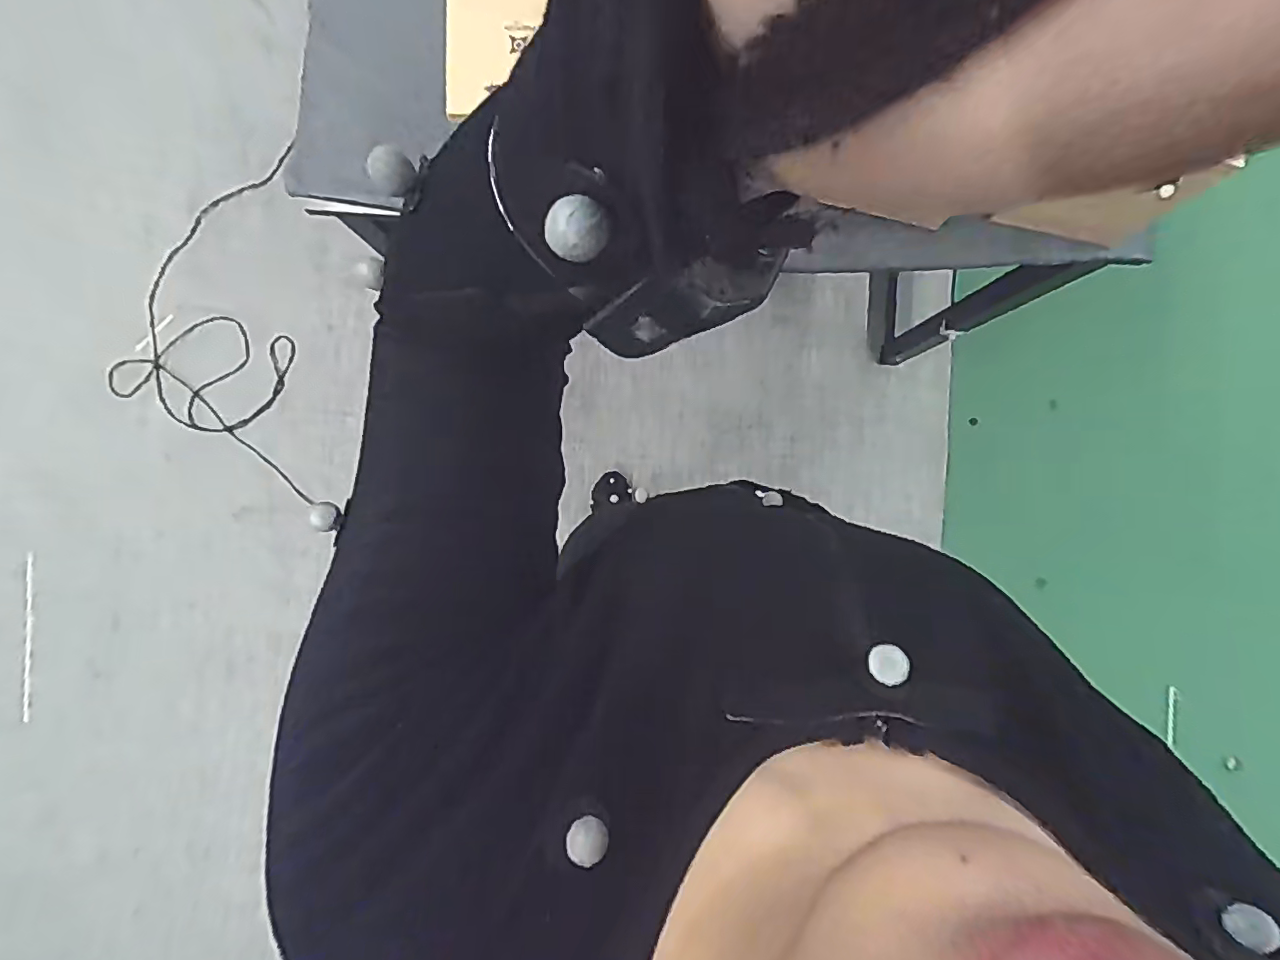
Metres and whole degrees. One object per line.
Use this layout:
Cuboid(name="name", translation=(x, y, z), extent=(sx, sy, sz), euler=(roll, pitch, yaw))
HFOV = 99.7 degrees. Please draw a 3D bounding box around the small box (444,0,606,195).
Cuboid(name="small box", translation=(-0.133, -0.493, 0.682), extent=(0.168, 0.176, 0.179), euler=(2, 89, 1))
